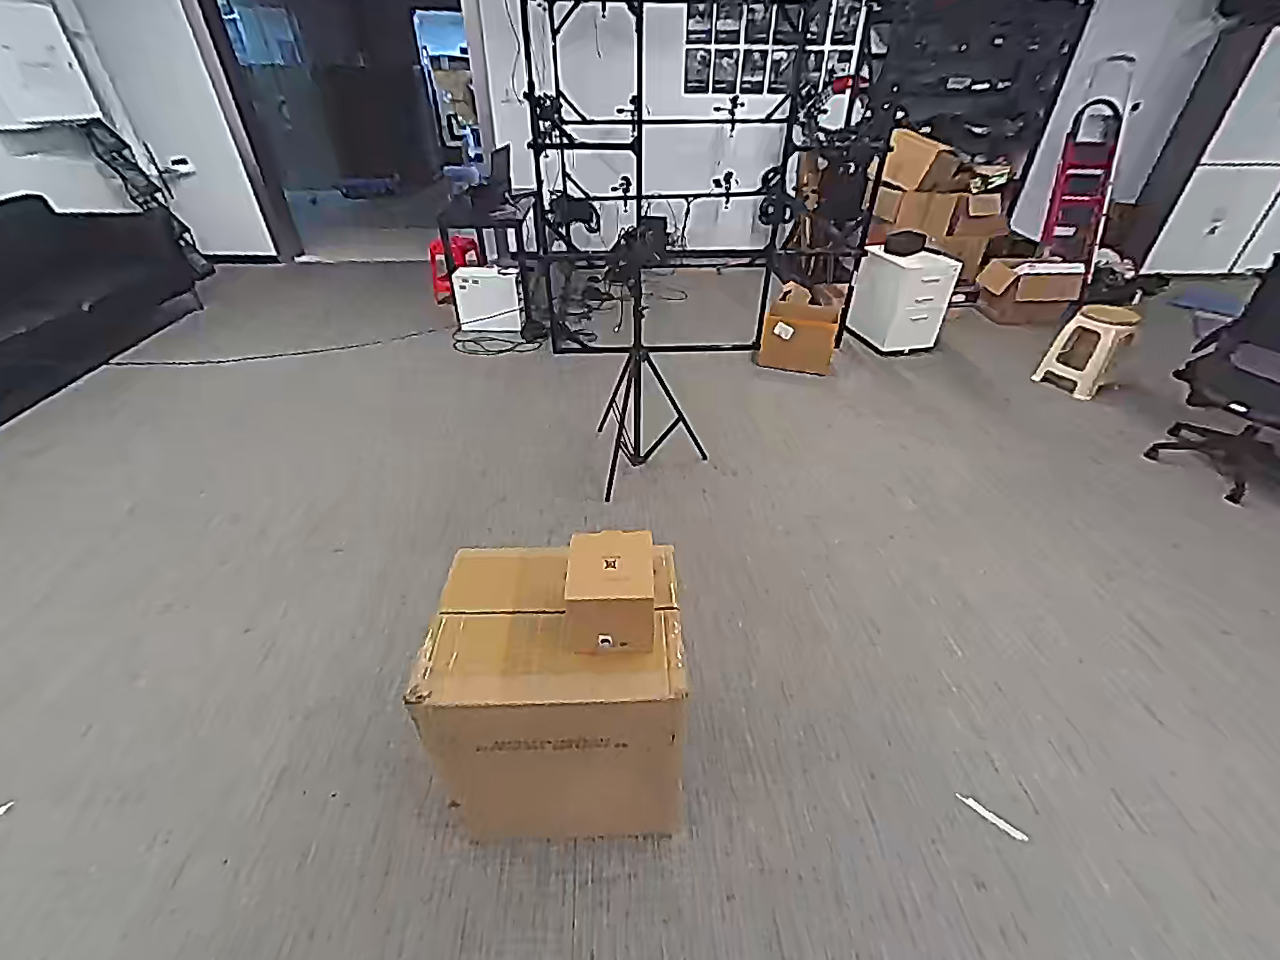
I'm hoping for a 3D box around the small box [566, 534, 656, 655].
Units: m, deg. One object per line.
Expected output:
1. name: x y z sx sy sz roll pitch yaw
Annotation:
1. small box: -0.054 0.229 1.088 0.168 0.176 0.179 -3 39 0
